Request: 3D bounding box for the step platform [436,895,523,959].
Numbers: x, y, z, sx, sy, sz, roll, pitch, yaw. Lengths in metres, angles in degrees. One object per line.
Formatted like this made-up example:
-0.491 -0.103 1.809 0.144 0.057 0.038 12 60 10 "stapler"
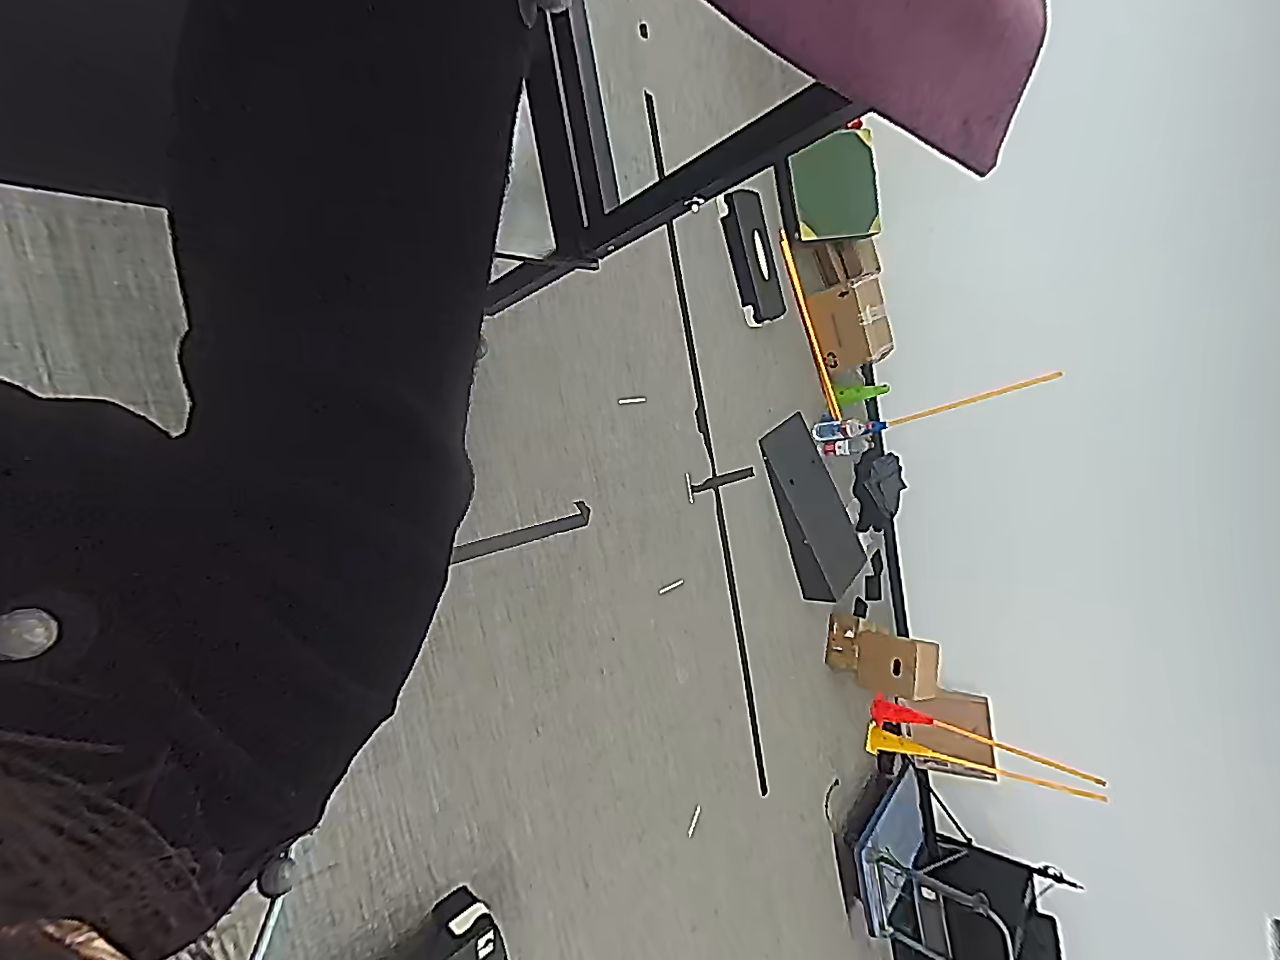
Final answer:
-0.607 1.362 1.303 0.684 0.204 0.286 -6 90 -46 "step platform"
